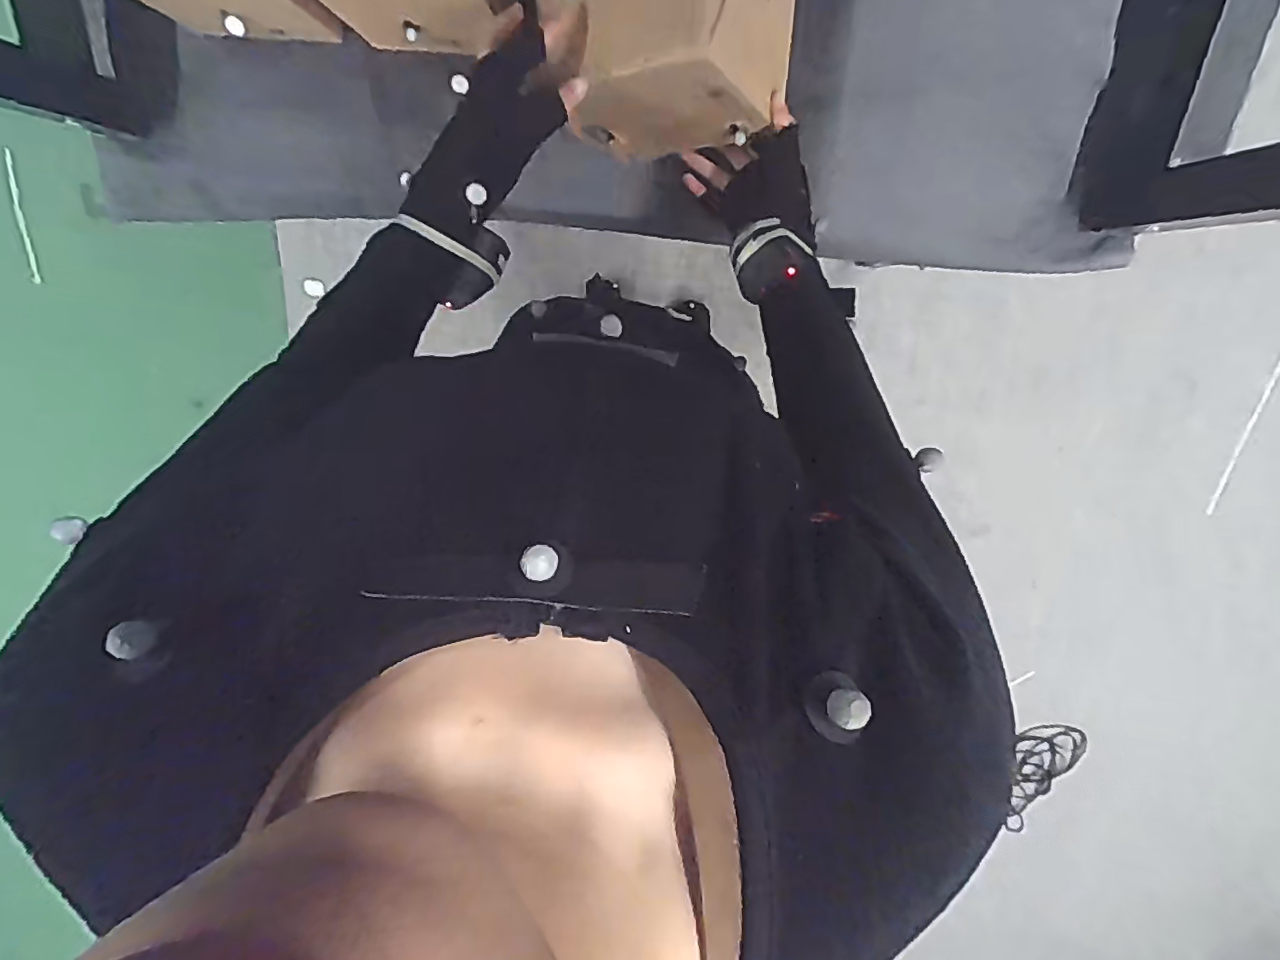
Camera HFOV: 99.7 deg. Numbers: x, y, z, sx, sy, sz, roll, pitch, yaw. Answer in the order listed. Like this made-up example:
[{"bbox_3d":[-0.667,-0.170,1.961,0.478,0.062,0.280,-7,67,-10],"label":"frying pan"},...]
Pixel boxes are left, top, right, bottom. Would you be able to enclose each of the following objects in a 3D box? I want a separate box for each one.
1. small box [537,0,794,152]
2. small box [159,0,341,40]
[{"bbox_3d":[0.030,-0.414,0.465,0.176,0.168,0.179,12,106,30],"label":"small box"},{"bbox_3d":[-0.399,-0.539,0.483,0.168,0.176,0.179,4,110,2],"label":"small box"}]
